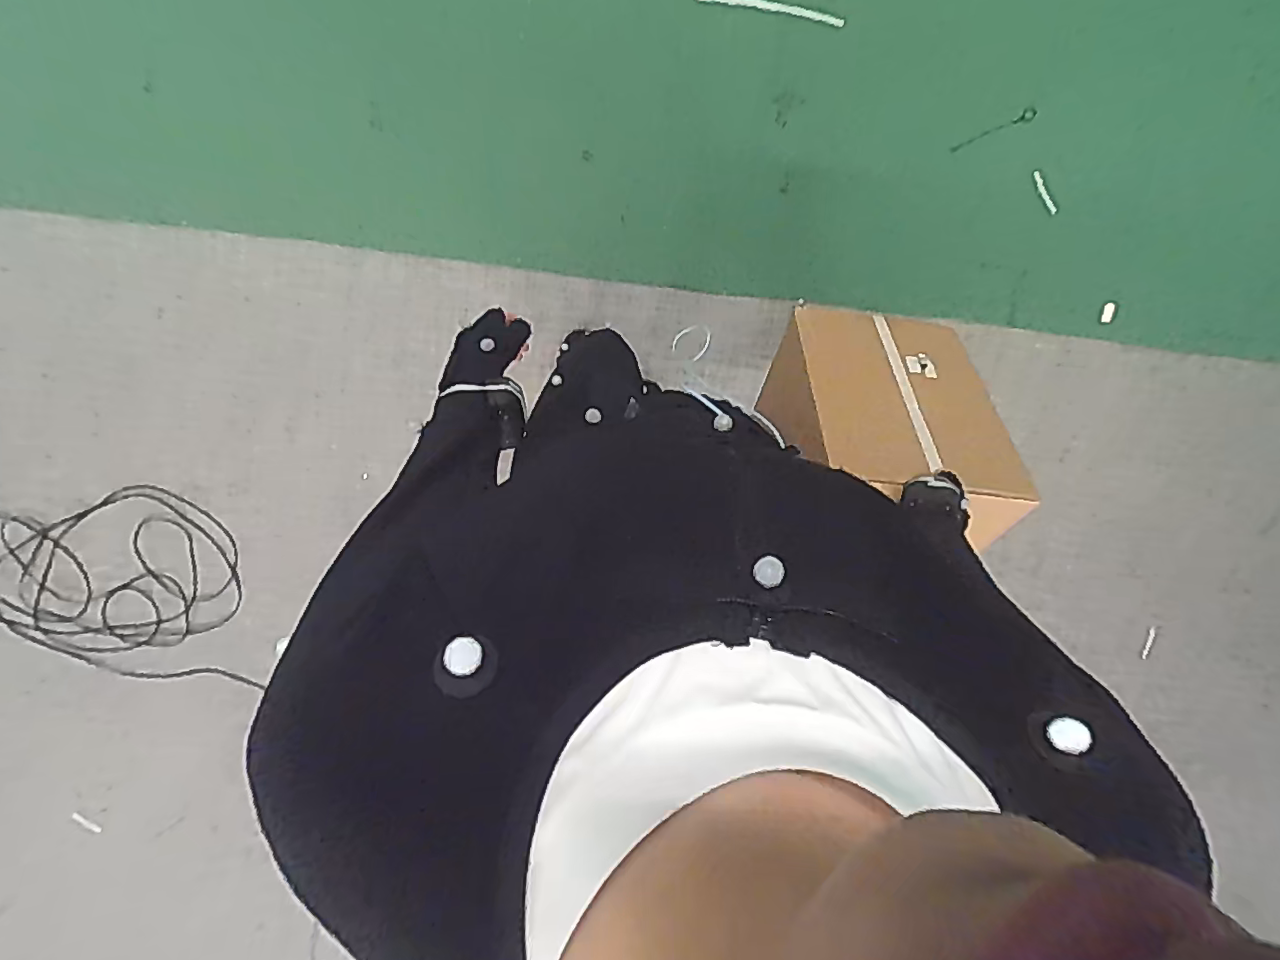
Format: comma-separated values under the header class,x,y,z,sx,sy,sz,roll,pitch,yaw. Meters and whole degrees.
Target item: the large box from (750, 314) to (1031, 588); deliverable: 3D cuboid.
class,x,y,z,sx,sy,sz,roll,pitch,yaw
large box,0.408,-0.049,1.009,0.320,0.408,0.320,6,142,-4
